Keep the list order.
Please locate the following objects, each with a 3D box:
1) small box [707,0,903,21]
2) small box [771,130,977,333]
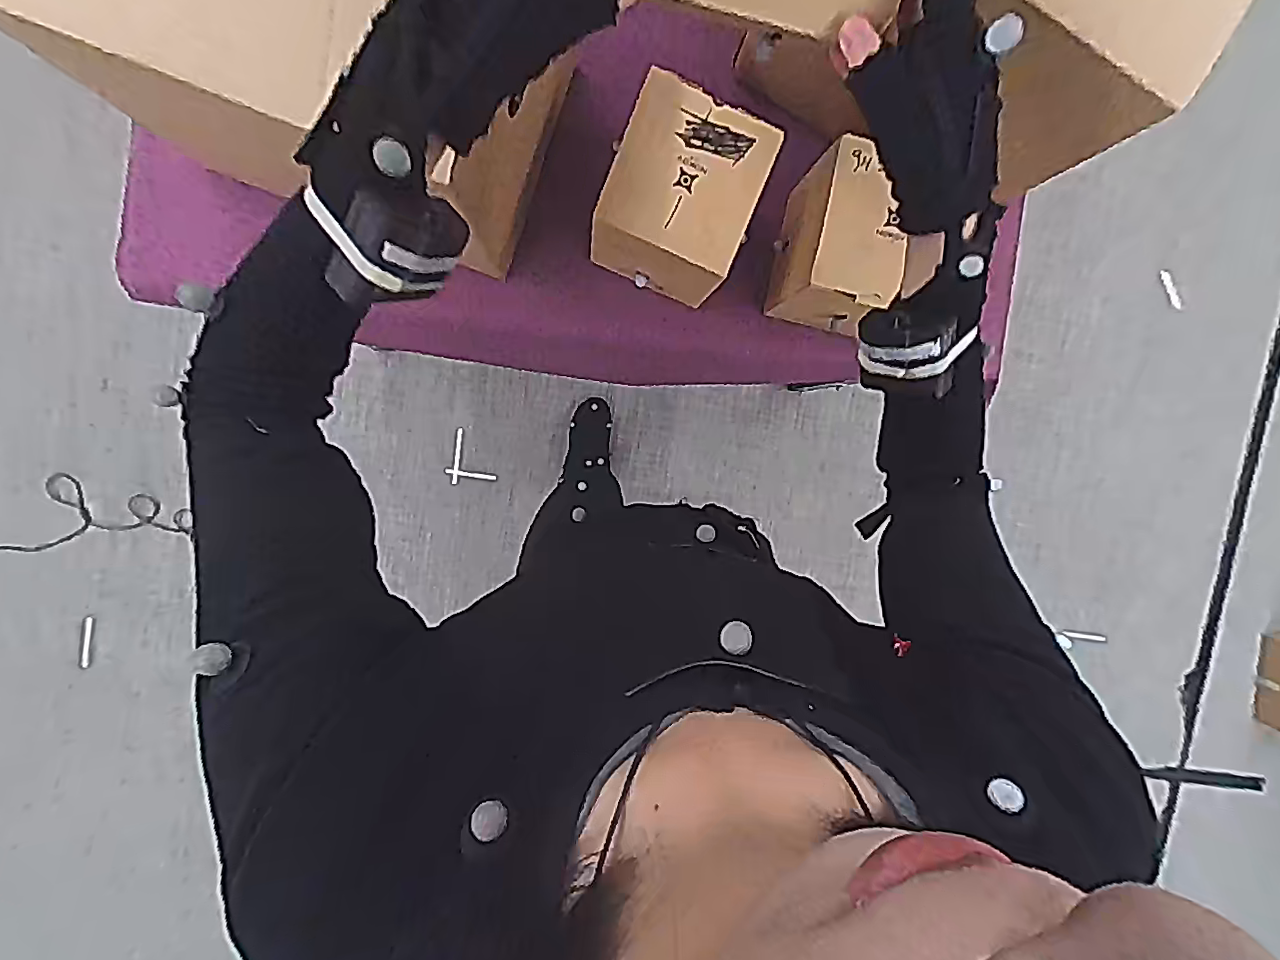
[{"bbox_3d":[0.060,-0.368,0.284,0.179,0.176,0.168,4,129,-12],"label":"small box"},{"bbox_3d":[0.284,-0.300,0.697,0.168,0.176,0.179,10,94,-7],"label":"small box"}]
